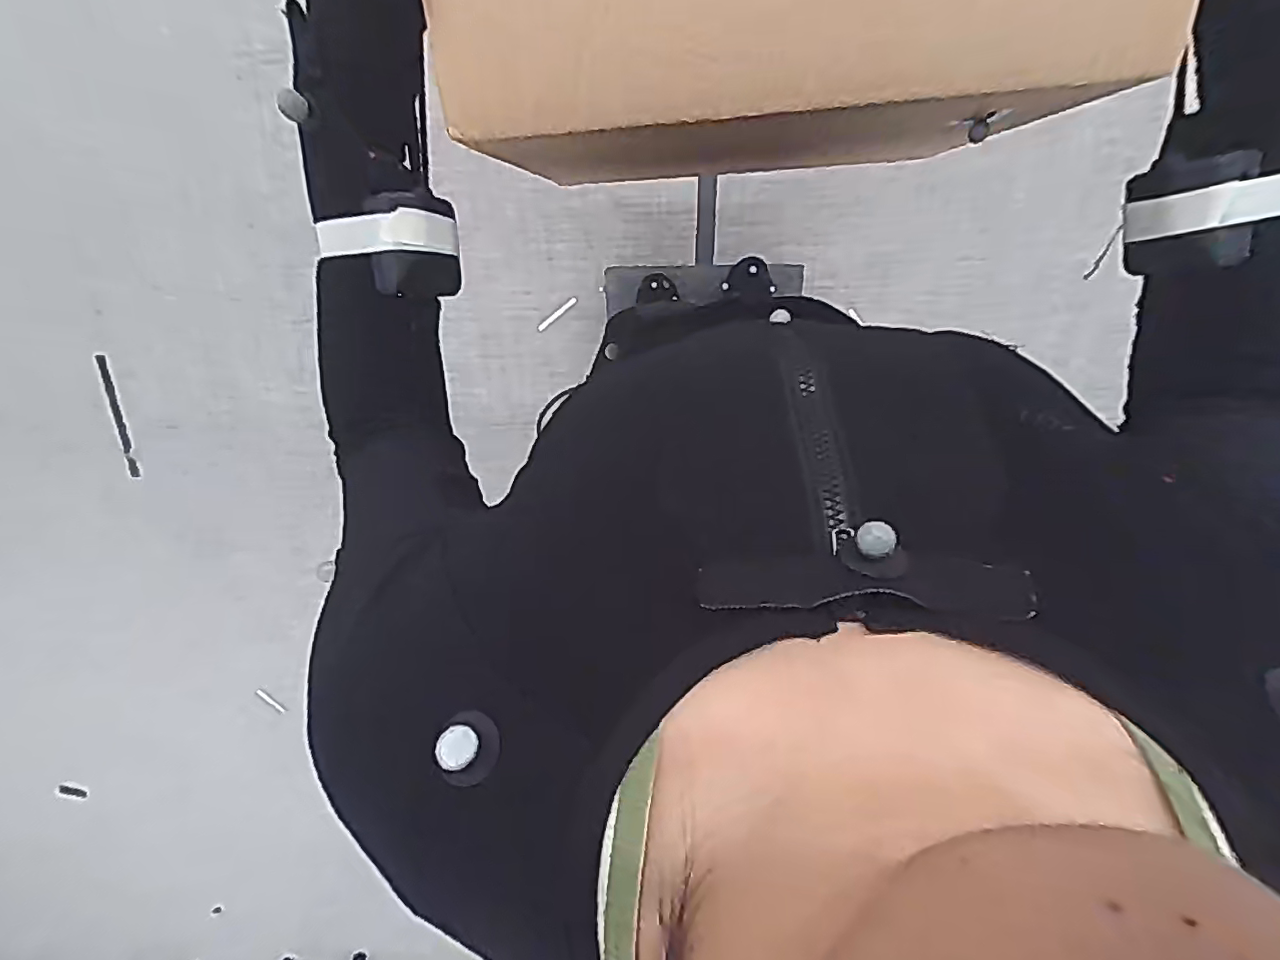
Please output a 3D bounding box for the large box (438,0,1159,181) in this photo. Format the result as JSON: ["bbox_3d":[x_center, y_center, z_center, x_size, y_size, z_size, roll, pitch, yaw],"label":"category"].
[{"bbox_3d":[0.086,-0.419,0.395,0.408,0.320,0.320,-2,114,6],"label":"large box"}]
